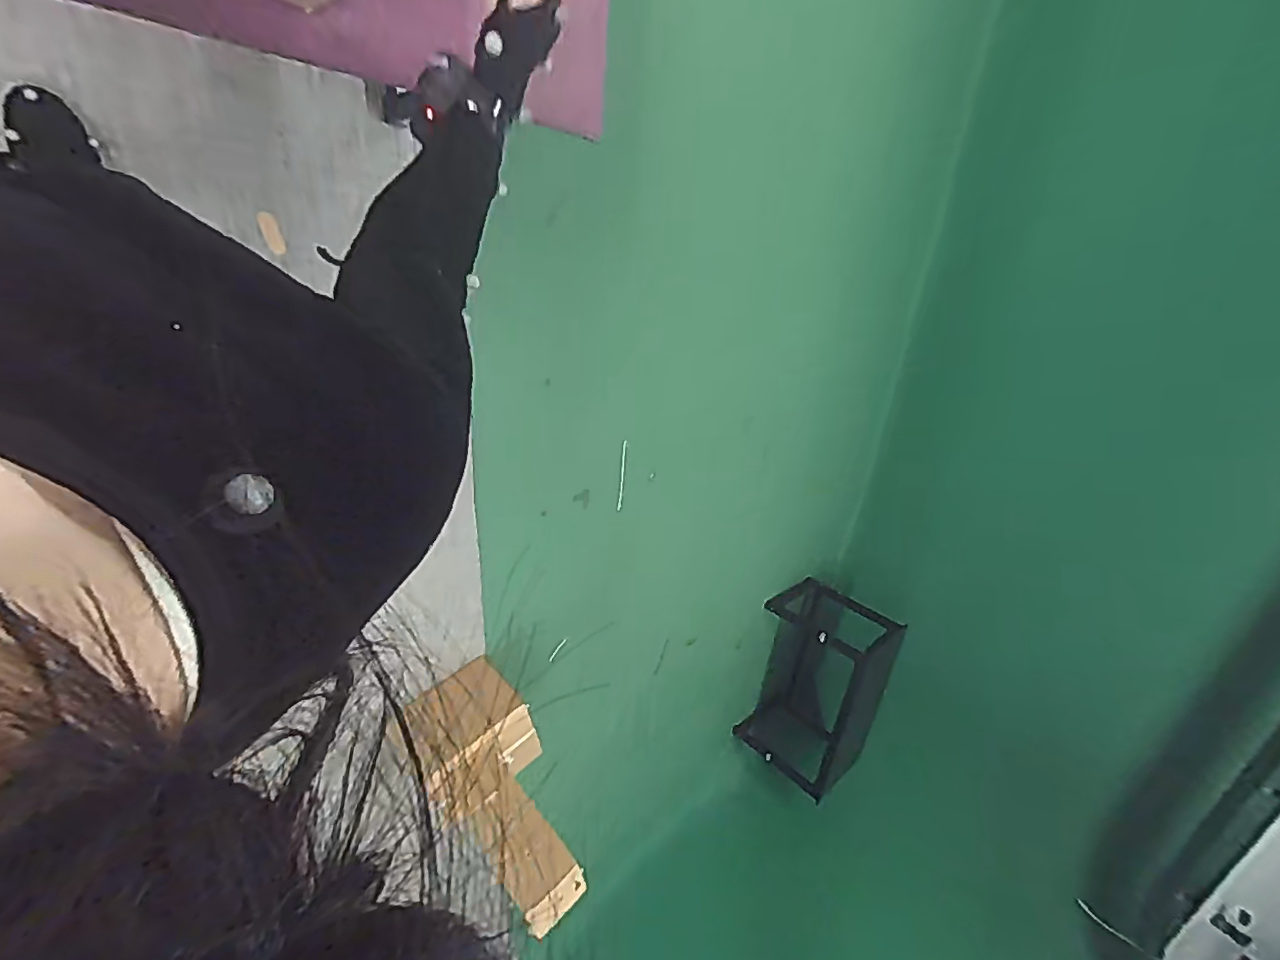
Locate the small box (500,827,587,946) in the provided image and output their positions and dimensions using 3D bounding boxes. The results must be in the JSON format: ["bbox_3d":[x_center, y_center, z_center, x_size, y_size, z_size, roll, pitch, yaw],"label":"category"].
[{"bbox_3d":[-0.278,1.146,1.534,0.179,0.176,0.168,-30,129,-31],"label":"small box"}]

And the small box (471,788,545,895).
[{"bbox_3d":[-0.391,1.089,1.639,0.179,0.176,0.168,-32,130,-32],"label":"small box"}]

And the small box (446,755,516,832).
[{"bbox_3d":[-0.500,1.029,1.745,0.168,0.176,0.179,-30,130,-32],"label":"small box"}]

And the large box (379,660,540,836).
[{"bbox_3d":[-0.634,0.939,1.933,0.408,0.320,0.320,-32,132,-33],"label":"large box"}]
